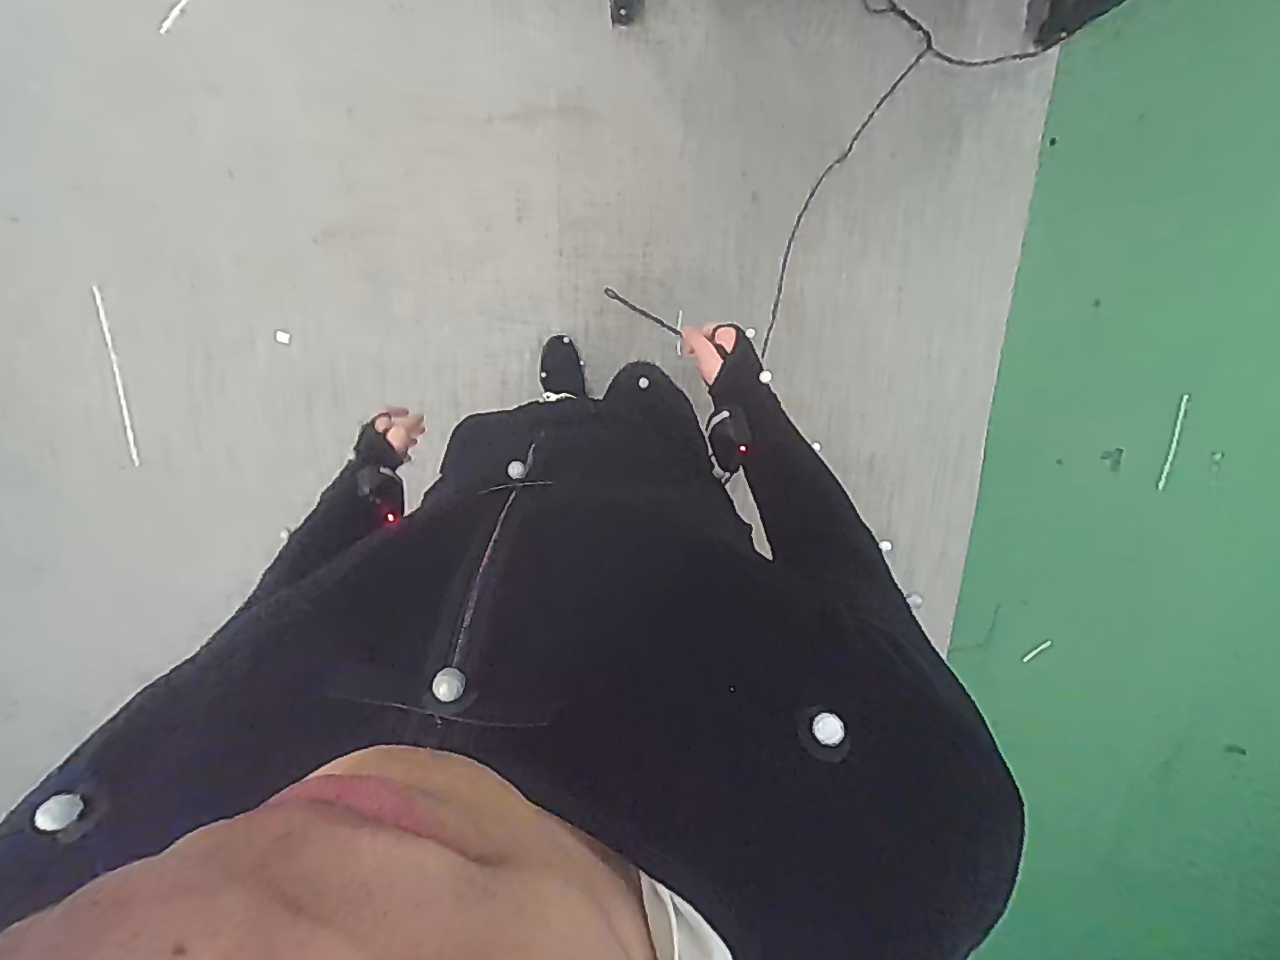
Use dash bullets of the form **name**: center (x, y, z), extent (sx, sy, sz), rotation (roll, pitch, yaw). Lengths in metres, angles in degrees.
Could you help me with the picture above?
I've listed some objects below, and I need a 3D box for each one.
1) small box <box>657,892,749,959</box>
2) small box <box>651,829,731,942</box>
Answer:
- **small box**: center (0.136, 1.085, 1.237), extent (0.168, 0.176, 0.179), rotation (6, 104, -6)
- **small box**: center (0.124, 1.046, 1.396), extent (0.168, 0.176, 0.179), rotation (6, 103, -6)
